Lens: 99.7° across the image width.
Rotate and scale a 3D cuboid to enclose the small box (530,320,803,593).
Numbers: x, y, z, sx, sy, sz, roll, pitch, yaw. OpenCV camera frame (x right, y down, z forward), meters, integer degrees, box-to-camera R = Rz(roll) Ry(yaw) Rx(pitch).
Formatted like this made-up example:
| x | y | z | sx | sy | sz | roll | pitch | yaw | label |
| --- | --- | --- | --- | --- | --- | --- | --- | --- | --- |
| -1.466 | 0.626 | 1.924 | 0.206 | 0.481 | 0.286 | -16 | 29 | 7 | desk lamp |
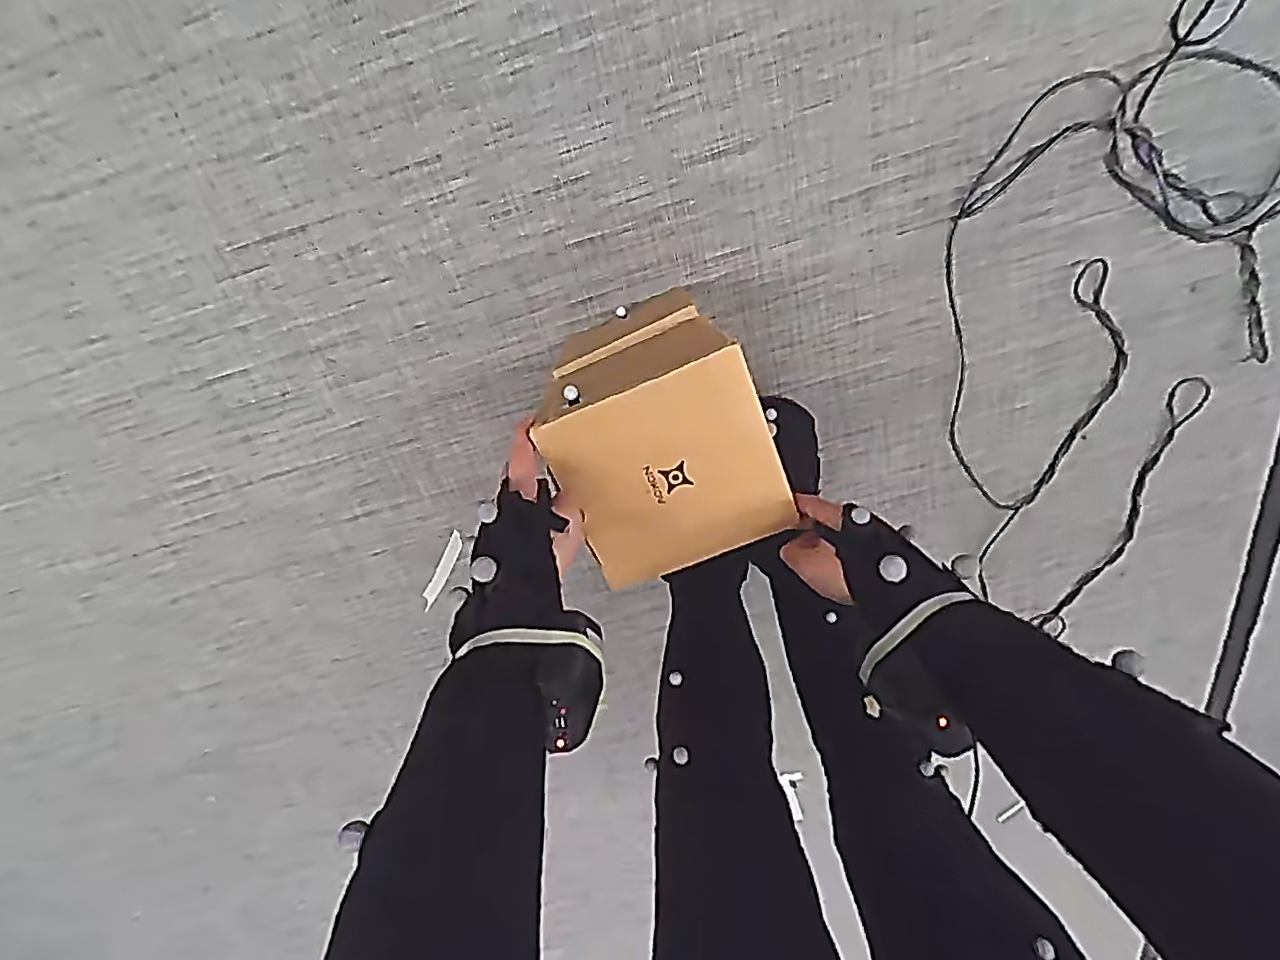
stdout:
| x | y | z | sx | sy | sz | roll | pitch | yaw | label |
| --- | --- | --- | --- | --- | --- | --- | --- | --- | --- |
| 0.022 | -0.033 | 0.499 | 0.179 | 0.176 | 0.168 | -22 | 112 | 8 | small box |
